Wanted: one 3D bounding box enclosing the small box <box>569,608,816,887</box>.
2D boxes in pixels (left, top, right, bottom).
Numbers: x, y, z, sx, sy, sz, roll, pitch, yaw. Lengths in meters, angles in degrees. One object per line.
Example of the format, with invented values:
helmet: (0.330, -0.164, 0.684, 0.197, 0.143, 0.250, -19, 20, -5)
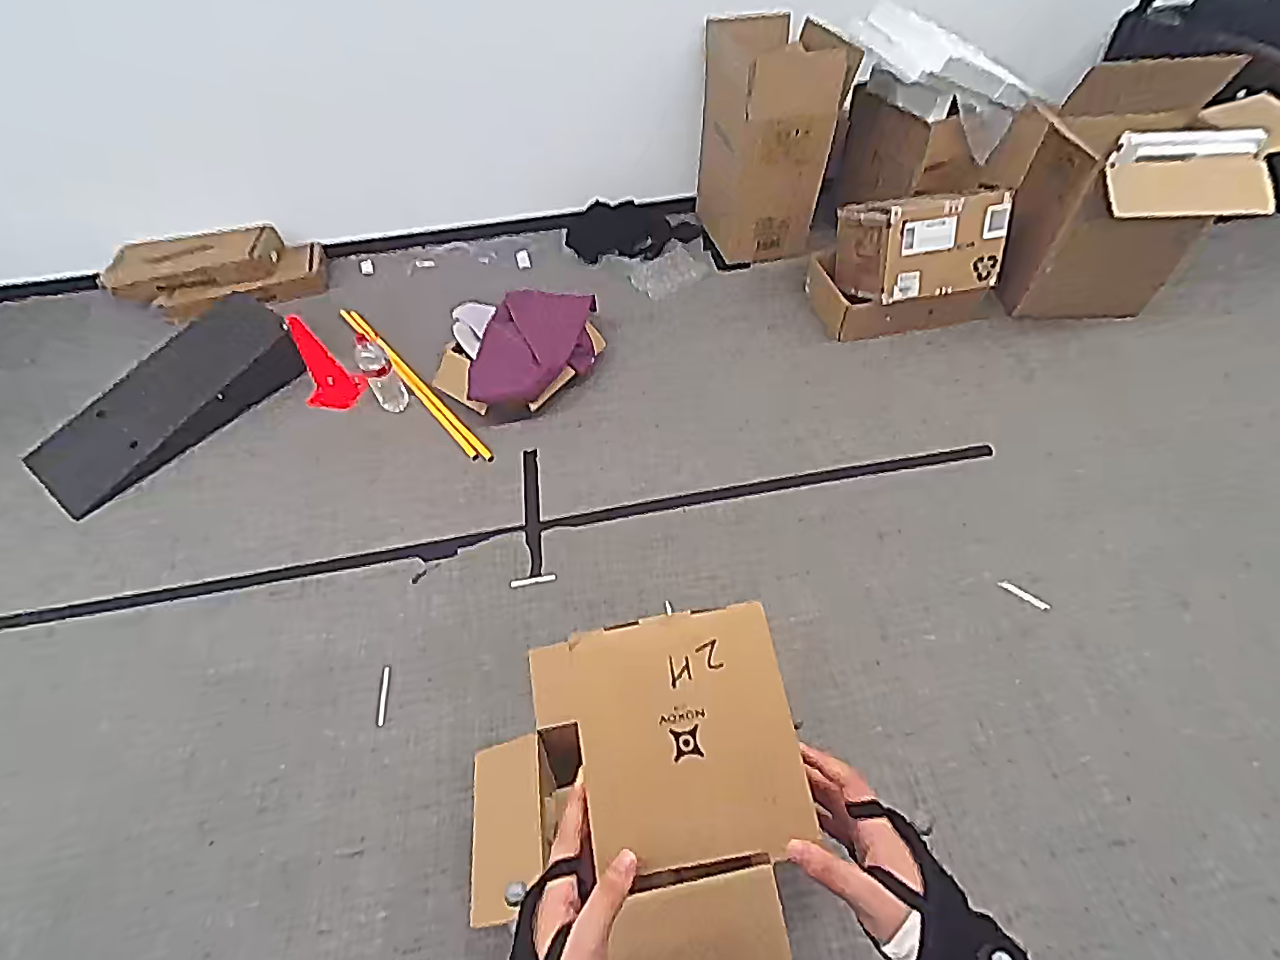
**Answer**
small box: (0.040, 0.227, 0.489, 0.168, 0.176, 0.179, -10, 67, 0)
